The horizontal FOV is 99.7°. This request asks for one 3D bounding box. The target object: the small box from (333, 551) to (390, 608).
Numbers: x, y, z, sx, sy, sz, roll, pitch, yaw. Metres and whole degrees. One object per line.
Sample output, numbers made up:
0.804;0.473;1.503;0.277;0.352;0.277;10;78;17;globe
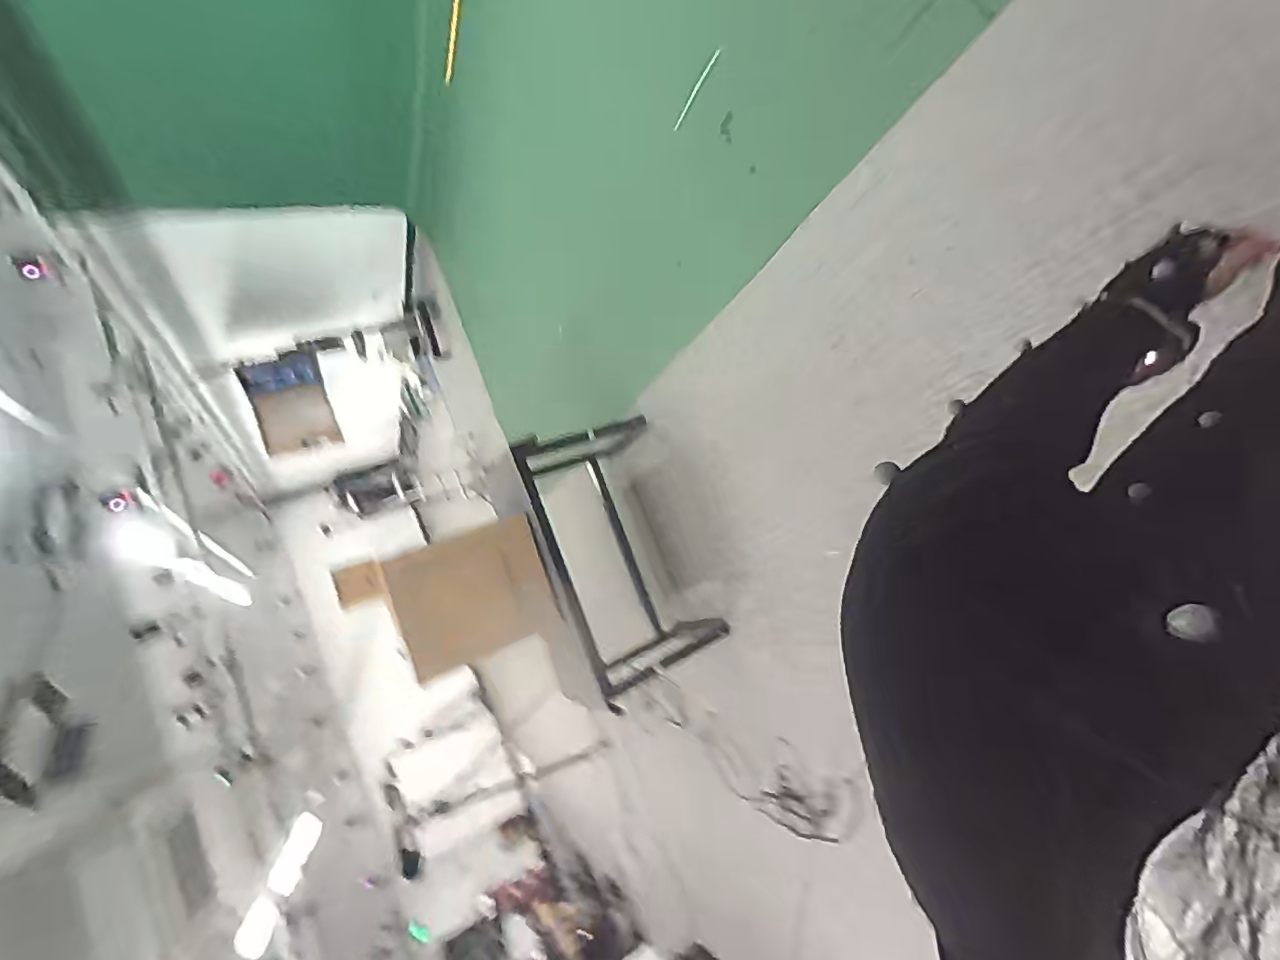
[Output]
-1.117;0.401;2.175;0.179;0.176;0.168;-36;73;58;small box
